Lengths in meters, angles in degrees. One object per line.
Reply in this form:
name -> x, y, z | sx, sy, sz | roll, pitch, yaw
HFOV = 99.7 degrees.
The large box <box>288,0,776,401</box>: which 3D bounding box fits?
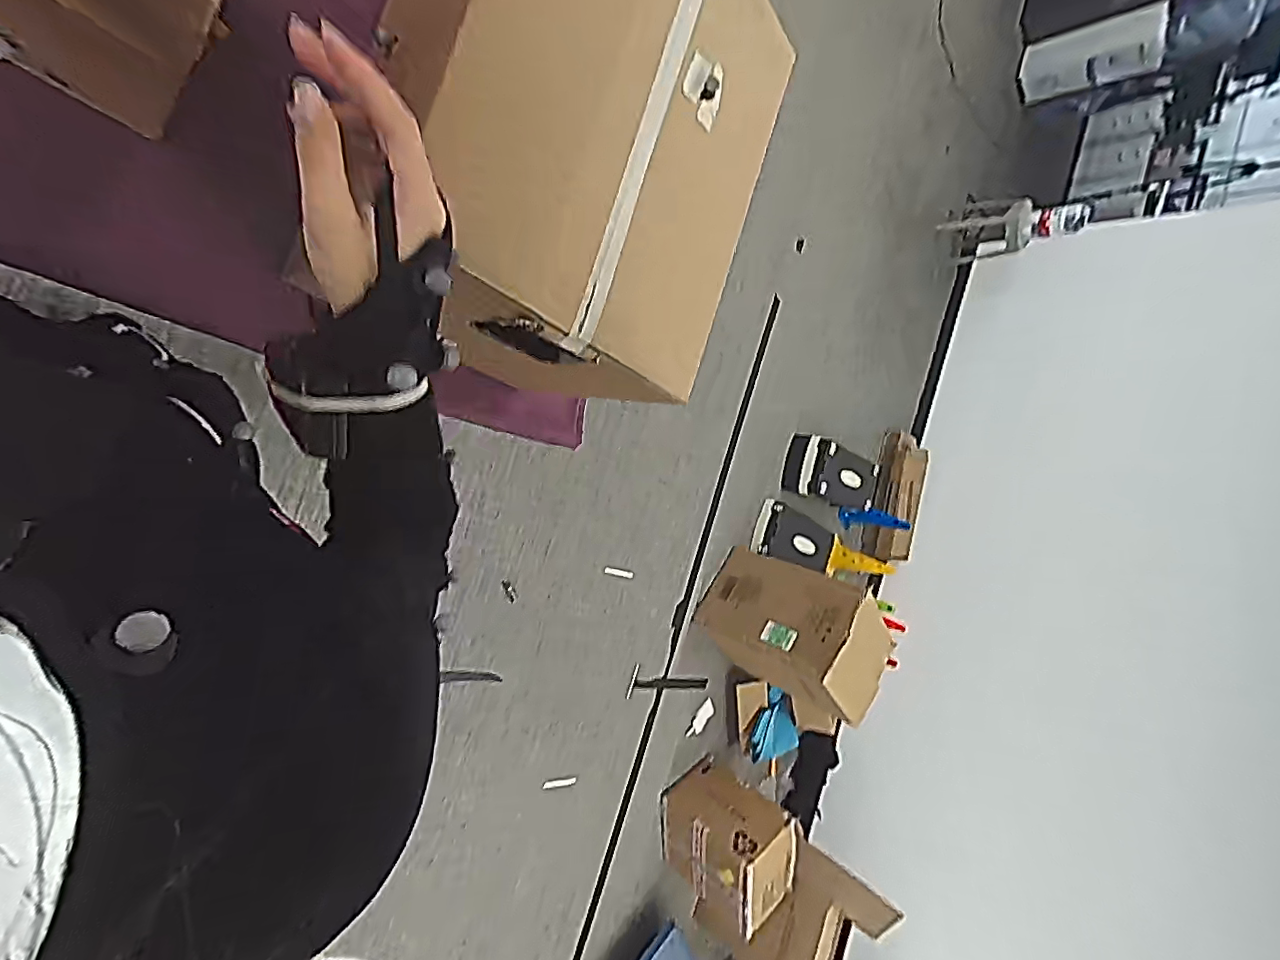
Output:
large box -> -0.110, -0.325, 0.569 | 0.320, 0.320, 0.408 | 22, 83, -46
